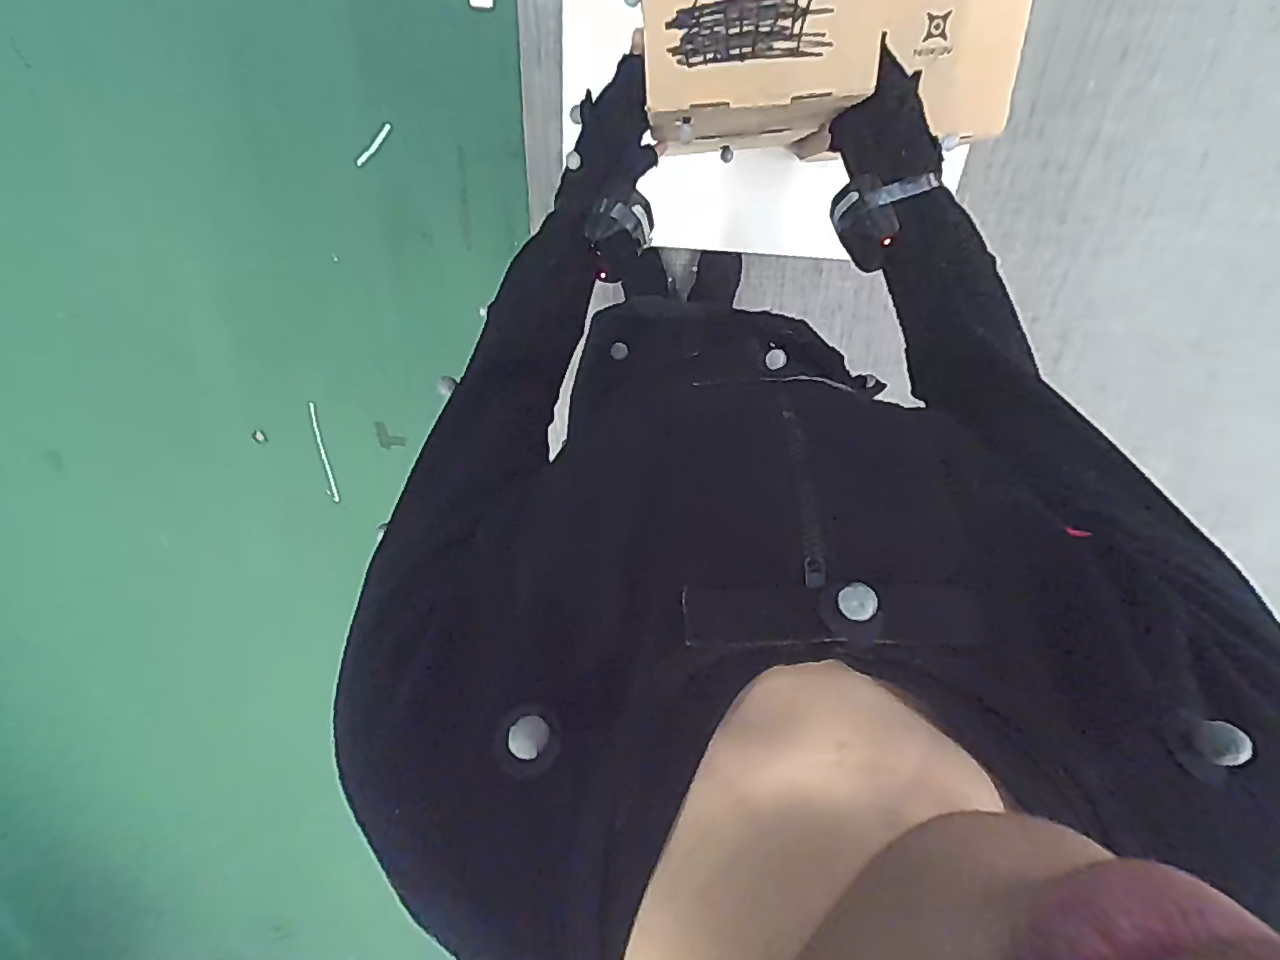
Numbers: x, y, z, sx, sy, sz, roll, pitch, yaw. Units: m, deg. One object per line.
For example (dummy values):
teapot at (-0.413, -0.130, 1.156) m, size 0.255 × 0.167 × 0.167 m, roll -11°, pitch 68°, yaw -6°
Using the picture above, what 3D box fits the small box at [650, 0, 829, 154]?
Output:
small box at (0.095, -0.461, 0.574) m, size 0.168 × 0.176 × 0.179 m, roll -2°, pitch 116°, yaw 4°
